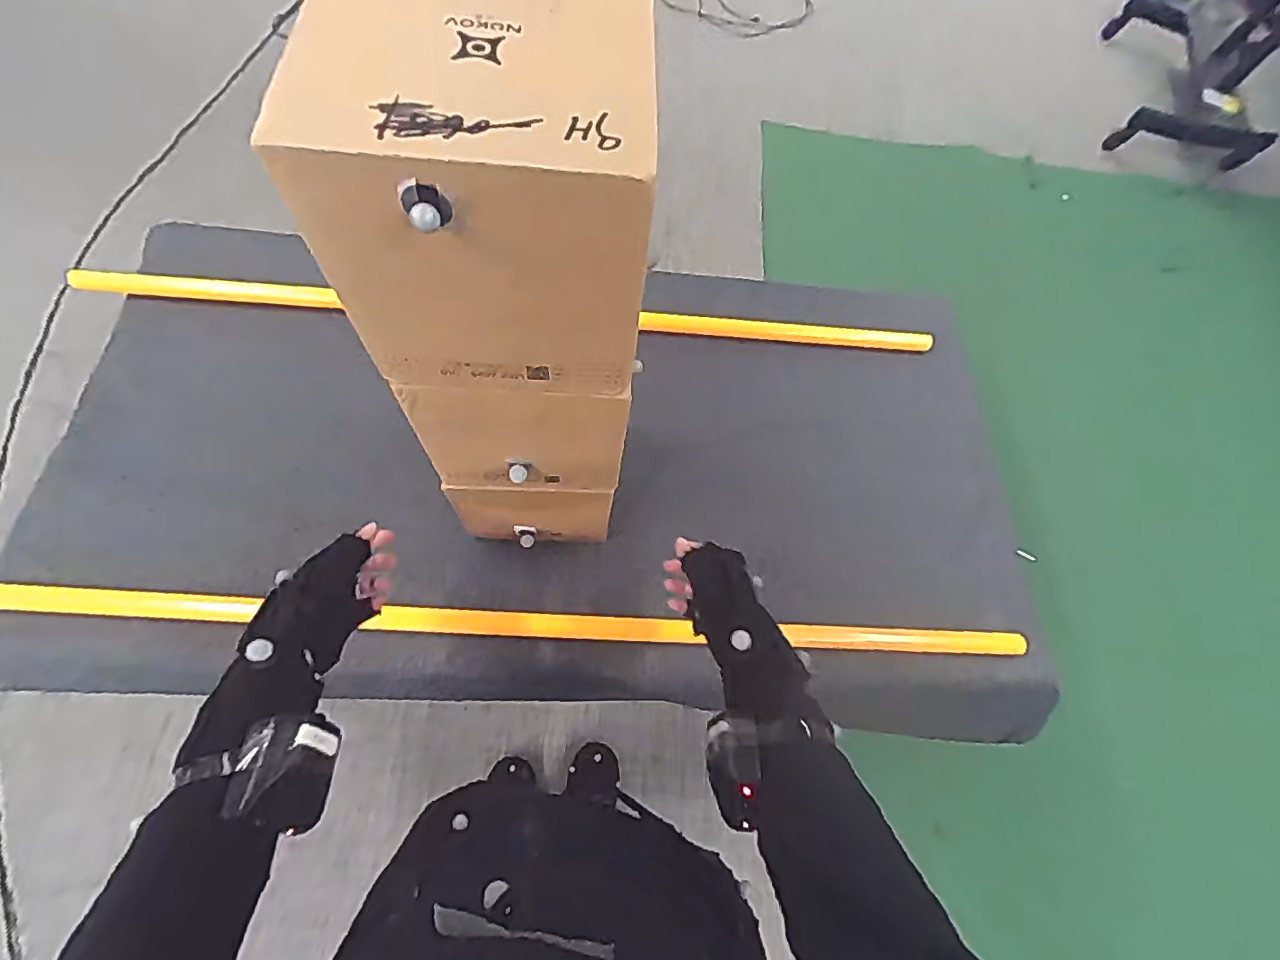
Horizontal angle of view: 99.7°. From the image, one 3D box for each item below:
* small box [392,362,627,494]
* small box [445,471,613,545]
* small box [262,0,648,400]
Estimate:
[{"bbox_3d":[-0.099,-0.103,0.487,0.168,0.176,0.179,2,66,-5],"label":"small box"},{"bbox_3d":[-0.118,-0.033,0.635,0.168,0.176,0.179,1,67,-6],"label":"small box"},{"bbox_3d":[-0.085,-0.173,0.340,0.168,0.176,0.179,2,65,-5],"label":"small box"}]
